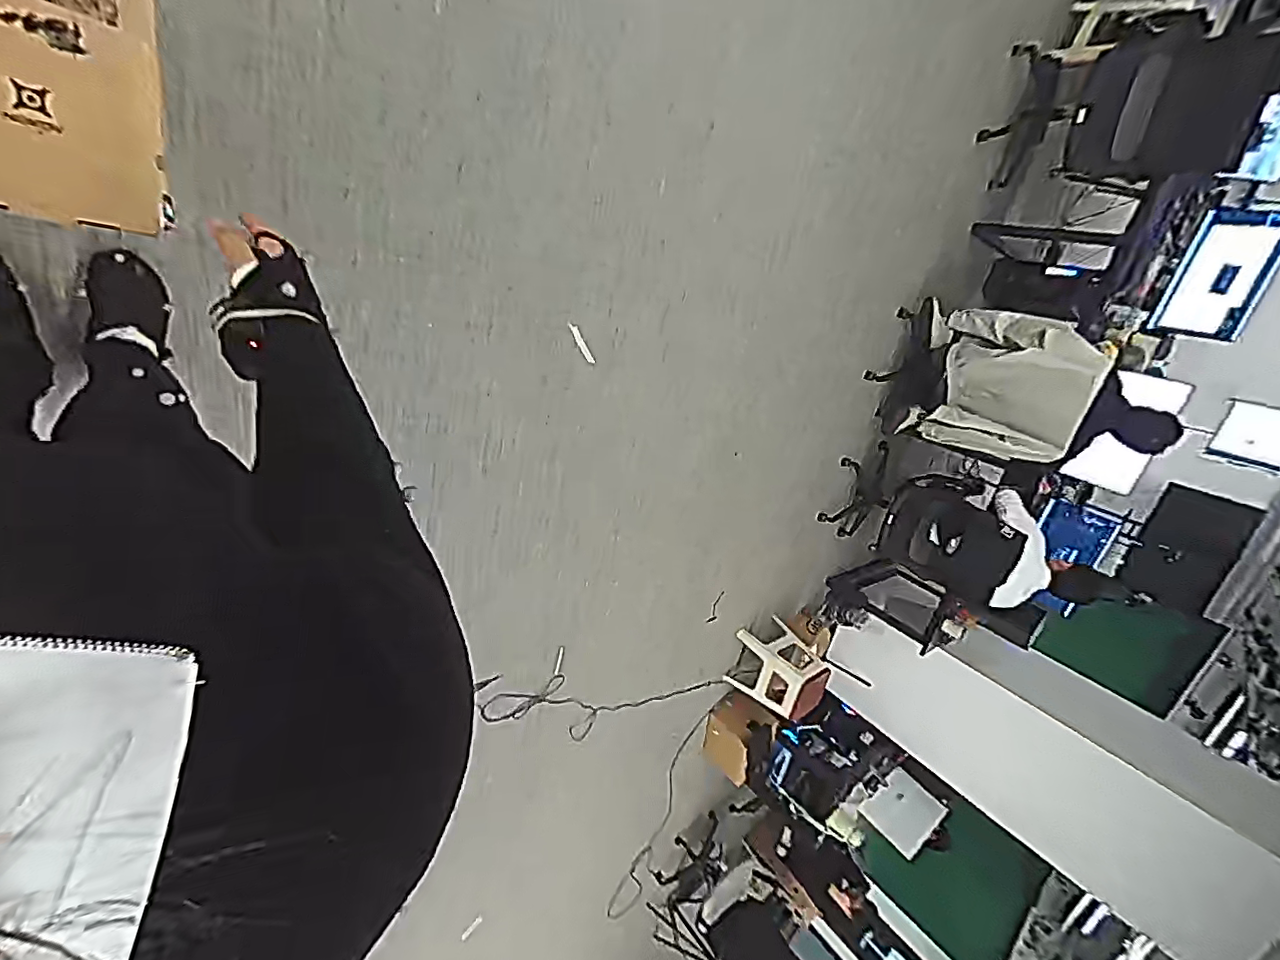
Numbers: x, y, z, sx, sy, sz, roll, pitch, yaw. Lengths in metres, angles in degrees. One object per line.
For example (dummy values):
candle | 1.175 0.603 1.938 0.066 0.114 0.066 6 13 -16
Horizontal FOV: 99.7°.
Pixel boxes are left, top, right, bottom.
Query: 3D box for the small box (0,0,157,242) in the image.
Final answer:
small box | -0.581 -0.353 0.522 0.168 0.176 0.179 -5 119 -43
